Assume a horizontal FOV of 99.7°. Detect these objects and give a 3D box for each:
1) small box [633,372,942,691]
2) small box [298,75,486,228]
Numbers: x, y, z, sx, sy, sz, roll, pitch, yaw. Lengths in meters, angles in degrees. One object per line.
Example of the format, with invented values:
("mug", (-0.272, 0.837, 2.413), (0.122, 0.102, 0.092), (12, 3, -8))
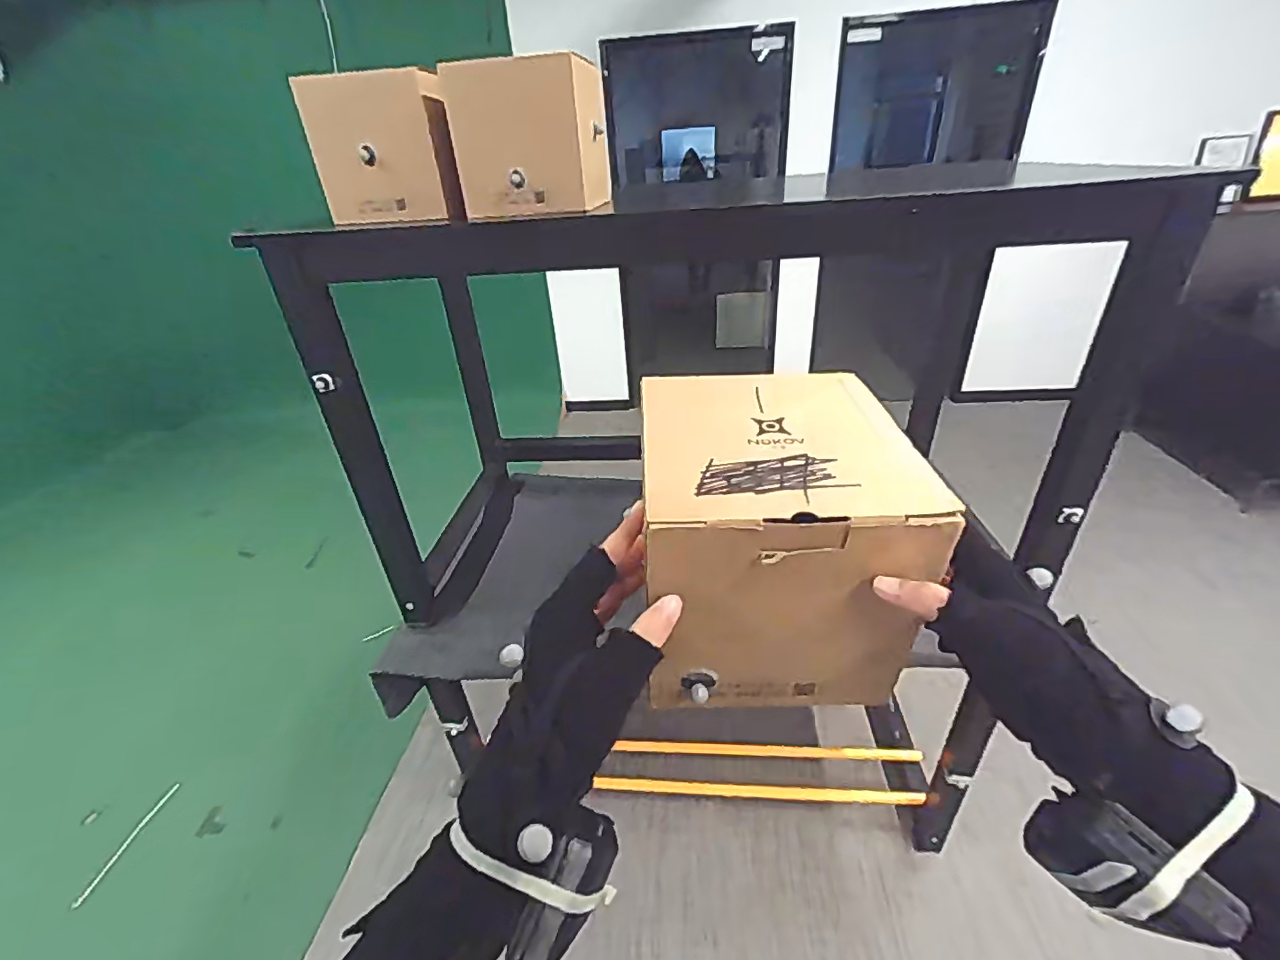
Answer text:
("small box", (0.081, 0.036, 0.396), (0.168, 0.176, 0.179), (-1, 35, 0))
("small box", (-0.335, -0.461, 0.776), (0.168, 0.176, 0.179), (1, 31, 6))
